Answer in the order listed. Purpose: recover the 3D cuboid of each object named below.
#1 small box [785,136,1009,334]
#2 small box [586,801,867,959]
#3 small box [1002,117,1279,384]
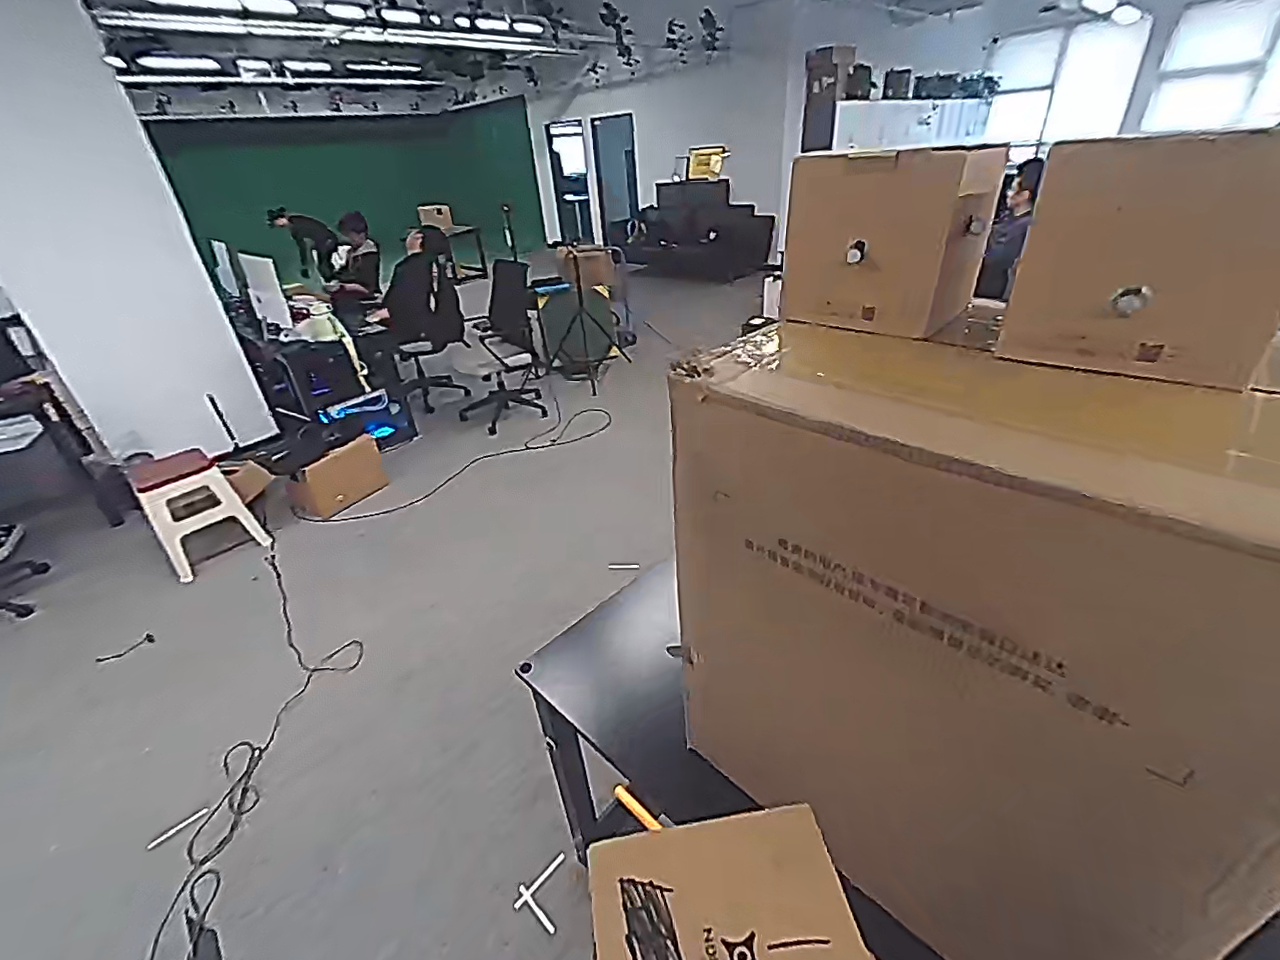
[{"bbox_3d":[0.272,-0.269,0.594,0.168,0.176,0.179,22,39,35],"label":"small box"},{"bbox_3d":[0.062,0.370,0.386,0.179,0.176,0.168,-8,32,-3],"label":"small box"},{"bbox_3d":[0.430,-0.194,0.448,0.168,0.176,0.179,22,38,37],"label":"small box"}]
